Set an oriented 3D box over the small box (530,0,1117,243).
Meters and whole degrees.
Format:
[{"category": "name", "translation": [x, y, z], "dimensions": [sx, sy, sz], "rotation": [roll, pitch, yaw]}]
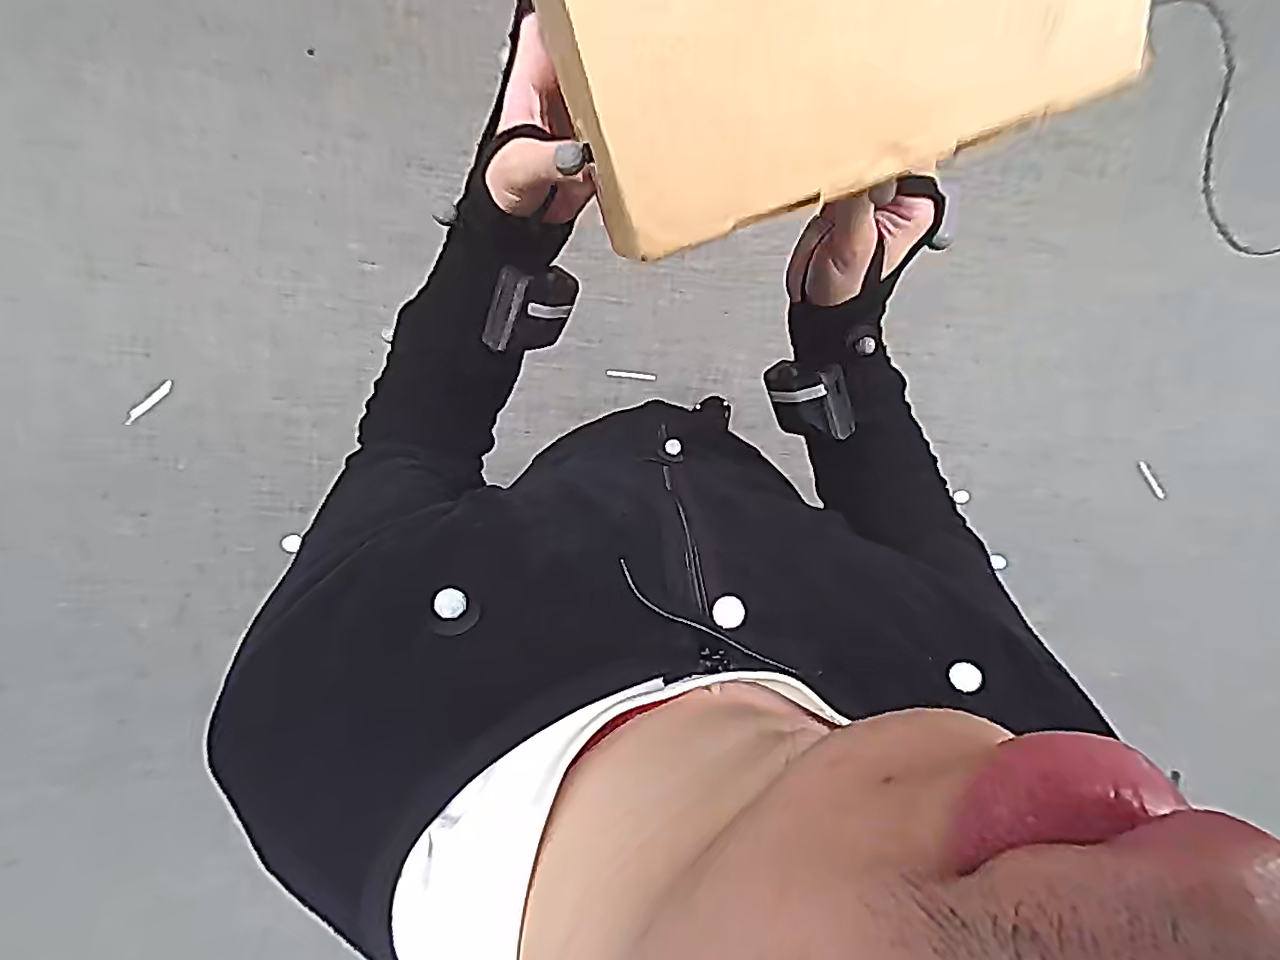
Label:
[{"category": "small box", "translation": [0.041, -0.212, 0.221], "dimensions": [0.168, 0.176, 0.179], "rotation": [-21, 111, 2]}]
